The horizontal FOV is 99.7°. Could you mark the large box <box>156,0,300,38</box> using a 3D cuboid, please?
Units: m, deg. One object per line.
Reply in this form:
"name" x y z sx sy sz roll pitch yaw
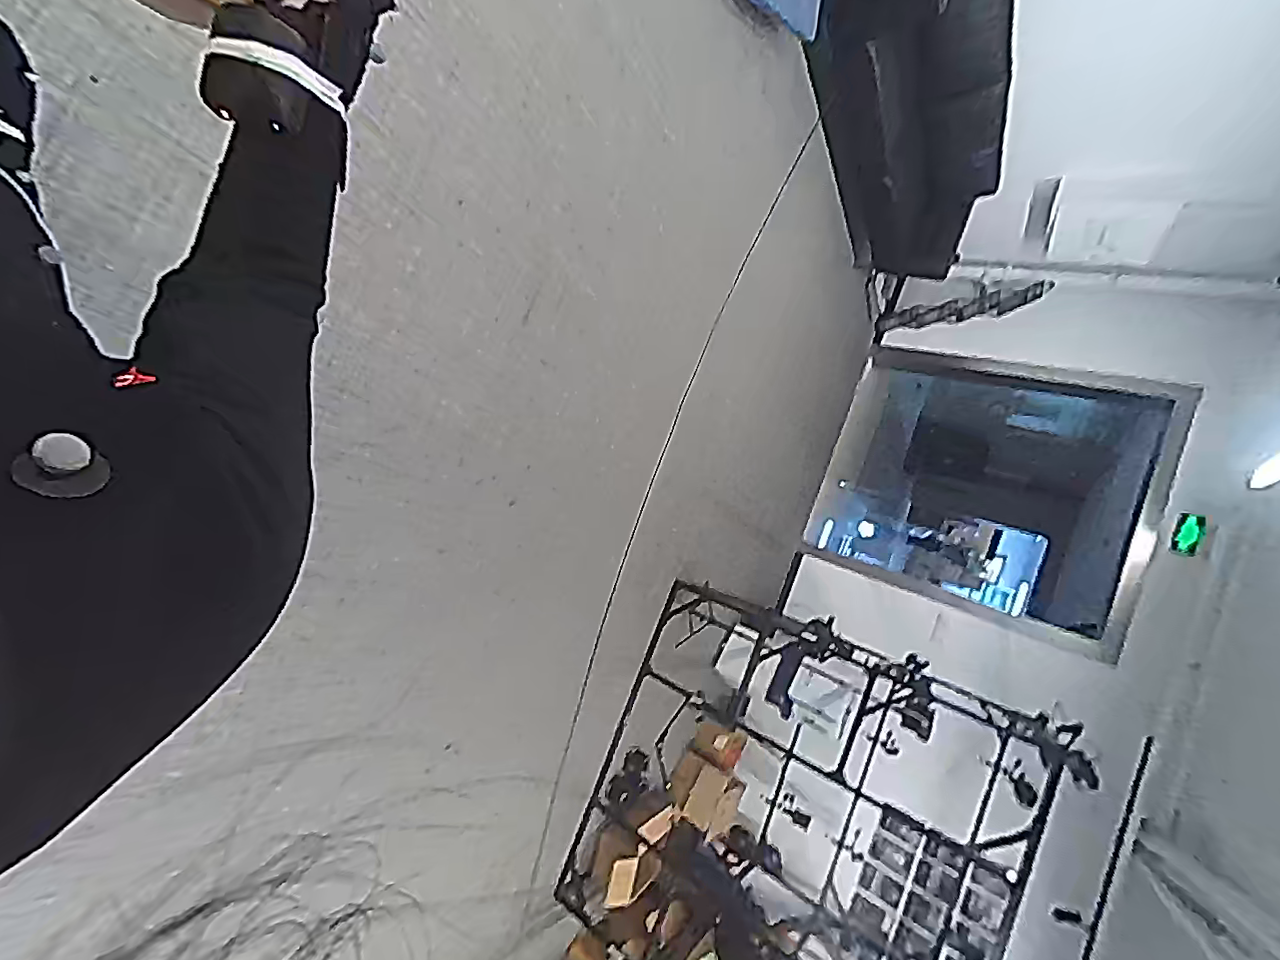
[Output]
"large box" -0.430 -0.562 0.301 0.408 0.320 0.320 5 117 -57
